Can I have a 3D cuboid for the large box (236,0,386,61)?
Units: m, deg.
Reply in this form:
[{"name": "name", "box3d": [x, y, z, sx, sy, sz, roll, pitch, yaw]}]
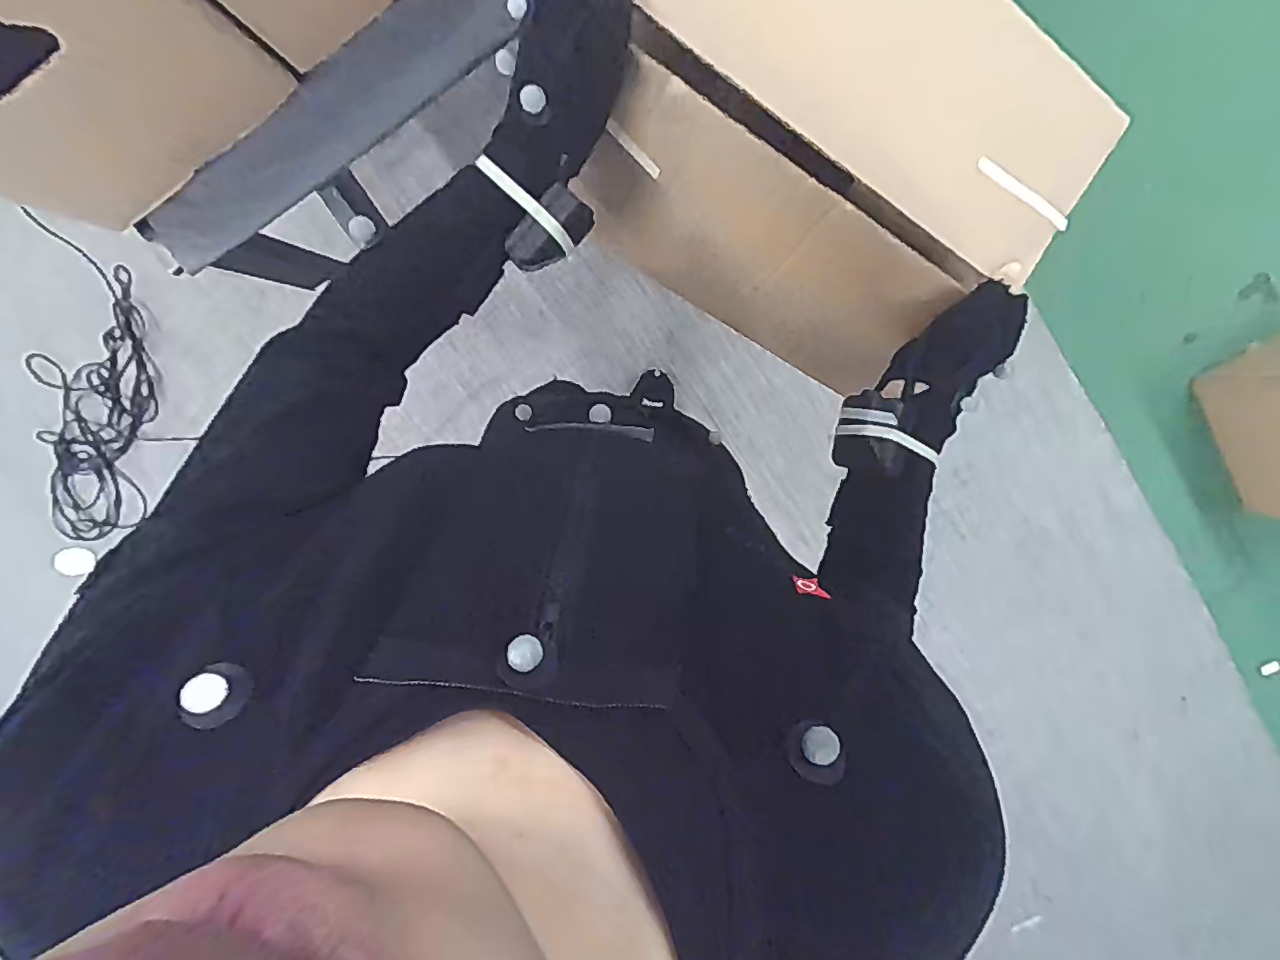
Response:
[{"name": "large box", "box3d": [-0.401, -0.721, 0.470, 0.320, 0.320, 0.408, -34, 98, 9]}]
